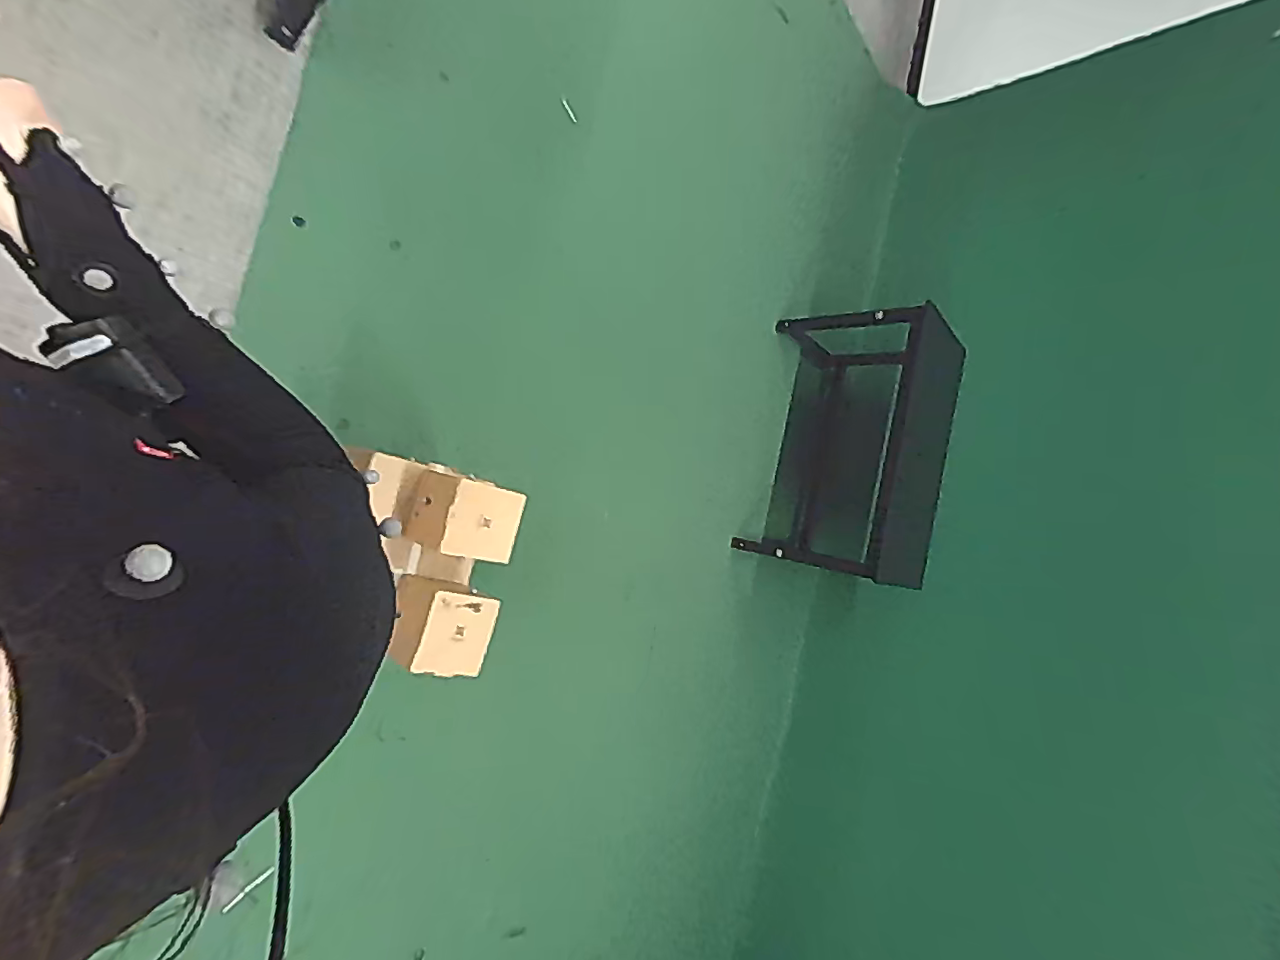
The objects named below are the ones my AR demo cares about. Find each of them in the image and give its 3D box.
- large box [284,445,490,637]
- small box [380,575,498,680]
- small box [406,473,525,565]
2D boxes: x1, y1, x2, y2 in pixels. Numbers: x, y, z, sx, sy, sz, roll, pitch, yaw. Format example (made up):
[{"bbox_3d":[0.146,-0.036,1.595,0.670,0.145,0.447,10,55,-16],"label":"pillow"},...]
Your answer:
[{"bbox_3d":[-0.632,0.149,1.357,0.320,0.320,0.408,19,83,-45],"label":"large box"},{"bbox_3d":[-0.455,0.328,1.215,0.168,0.176,0.179,27,77,-46],"label":"small box"},{"bbox_3d":[-0.400,0.086,1.236,0.179,0.176,0.168,20,83,-46],"label":"small box"}]
